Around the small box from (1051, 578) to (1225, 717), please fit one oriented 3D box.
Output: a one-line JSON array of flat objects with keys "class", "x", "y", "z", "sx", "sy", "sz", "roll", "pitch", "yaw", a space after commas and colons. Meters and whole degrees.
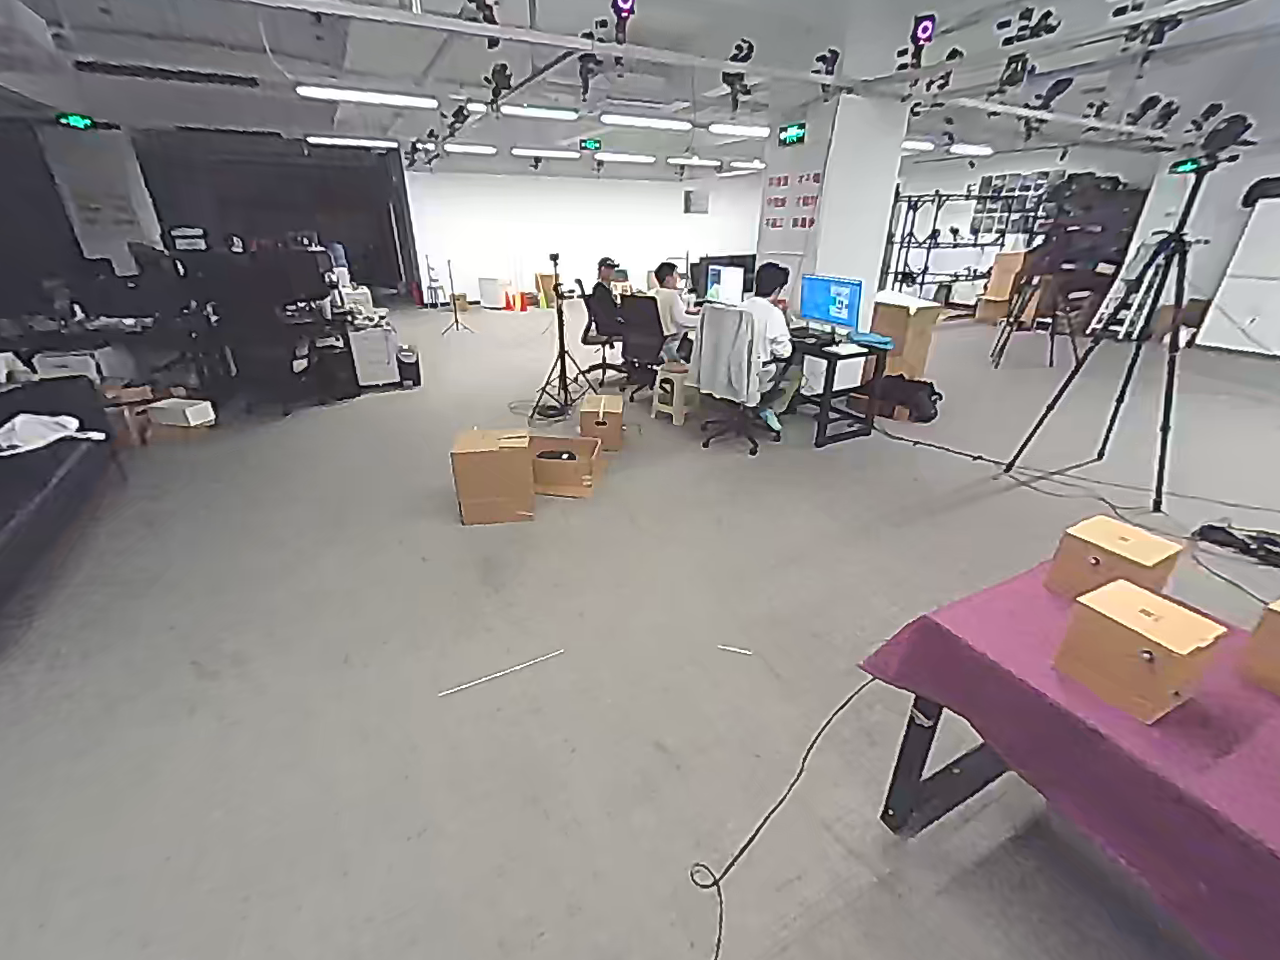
[{"class": "small box", "x": 0.967, "y": 0.324, "z": 1.067, "sx": 0.168, "sy": 0.176, "sz": 0.179, "roll": -11, "pitch": 29, "yaw": -23}]
